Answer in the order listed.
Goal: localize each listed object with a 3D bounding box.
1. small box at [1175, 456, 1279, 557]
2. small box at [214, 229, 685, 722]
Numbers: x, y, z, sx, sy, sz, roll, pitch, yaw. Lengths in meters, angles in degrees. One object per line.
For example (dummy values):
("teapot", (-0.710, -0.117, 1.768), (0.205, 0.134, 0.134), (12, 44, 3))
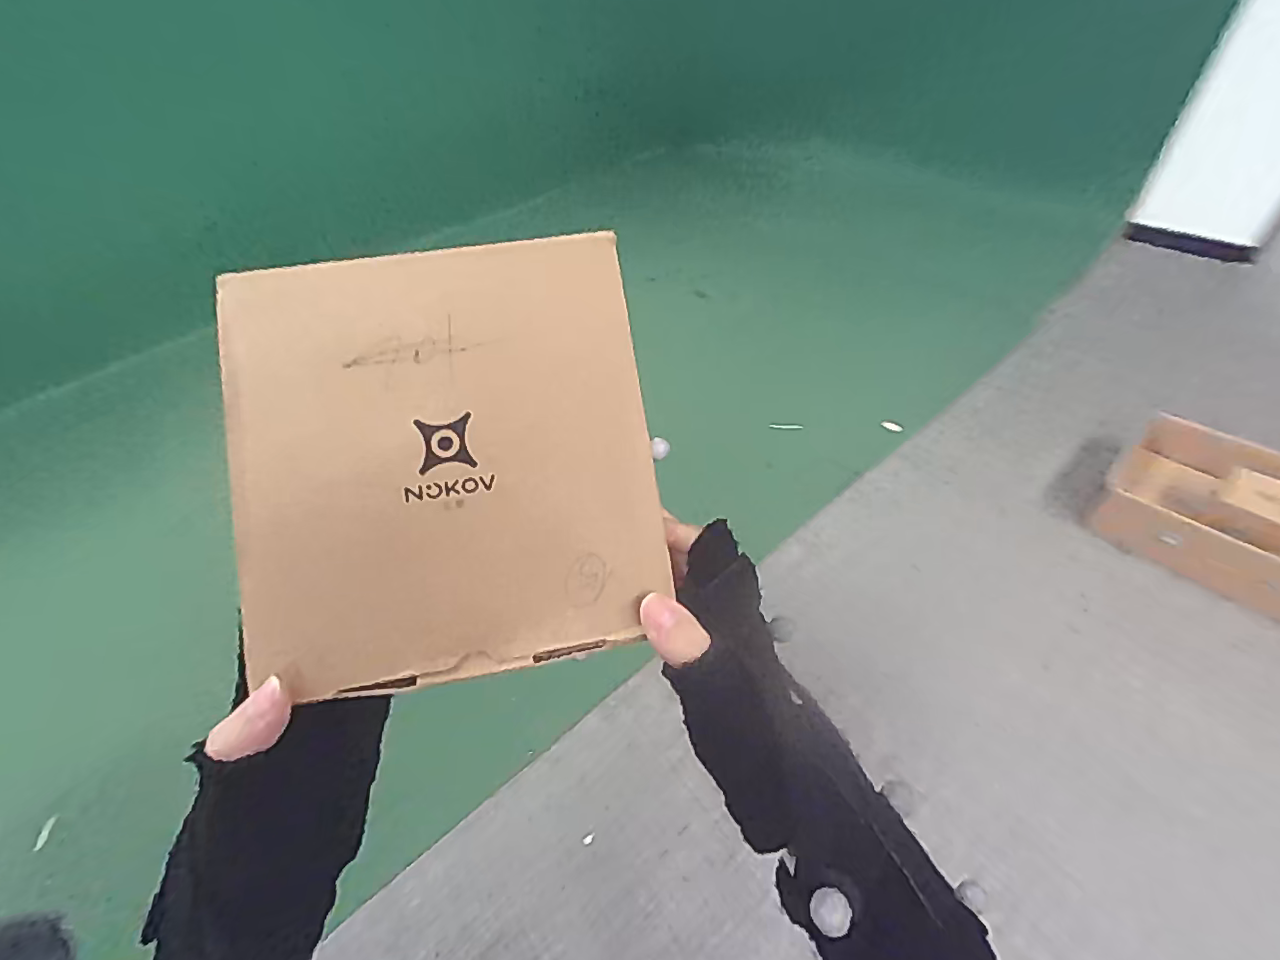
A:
("small box", (1.580, 0.076, 1.417), (0.168, 0.176, 0.179), (-37, 51, -23))
("small box", (-0.080, 0.001, 0.298), (0.168, 0.176, 0.179), (-13, 84, -4))
